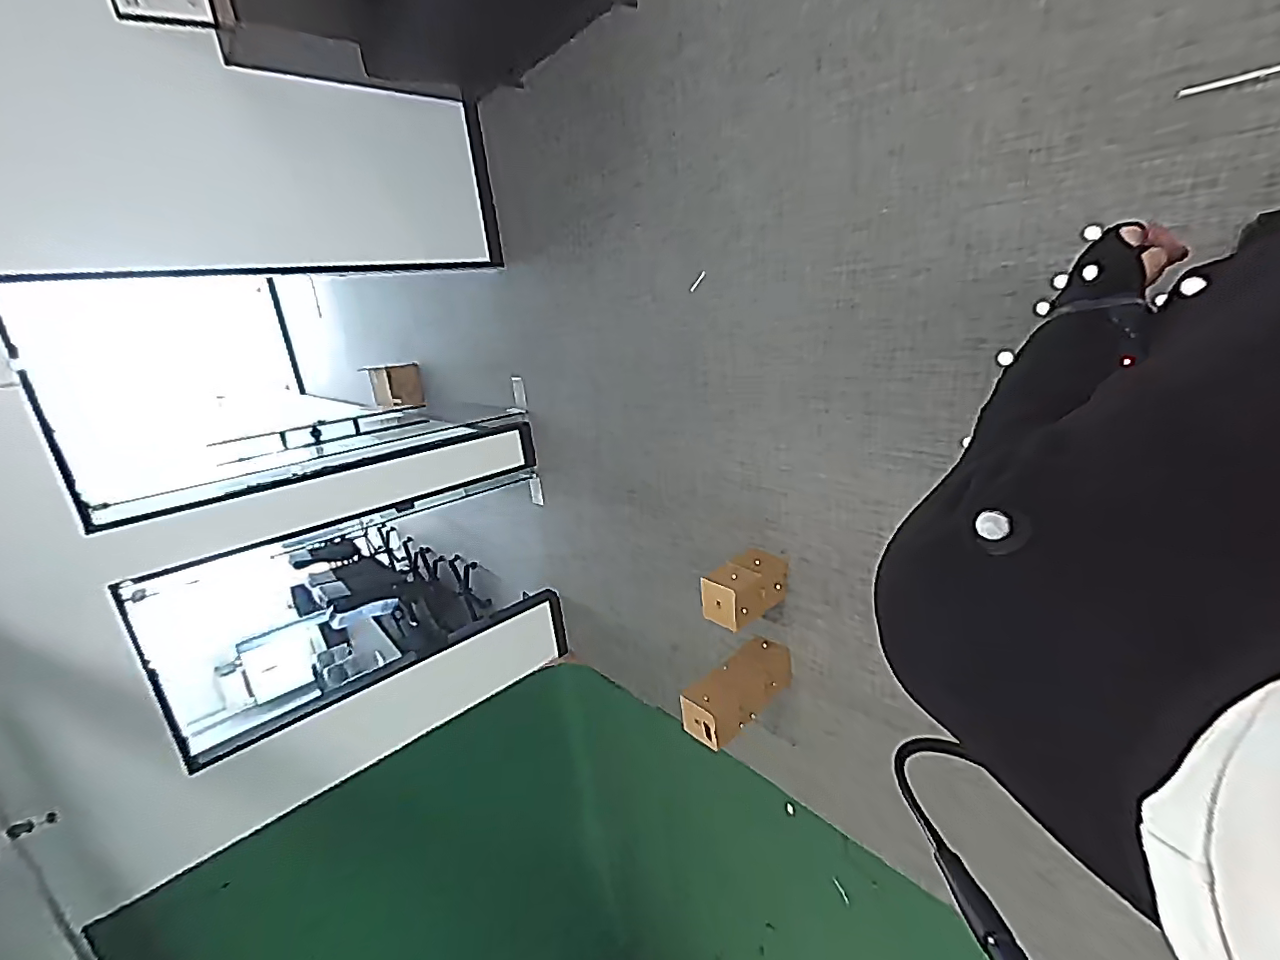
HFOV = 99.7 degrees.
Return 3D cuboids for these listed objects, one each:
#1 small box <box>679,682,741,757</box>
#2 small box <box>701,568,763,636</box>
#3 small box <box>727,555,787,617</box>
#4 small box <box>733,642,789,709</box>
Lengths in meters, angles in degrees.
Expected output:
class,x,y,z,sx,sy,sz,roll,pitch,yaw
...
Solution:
class,x,y,z,sx,sy,sz,roll,pitch,yaw
small box,0.274,0.903,2.062,0.179,0.176,0.168,12,114,49
small box,0.353,0.456,2.054,0.168,0.176,0.179,13,116,47
small box,0.470,0.417,2.161,0.179,0.176,0.168,15,115,46
small box,0.511,0.817,2.272,0.168,0.176,0.179,13,114,47
